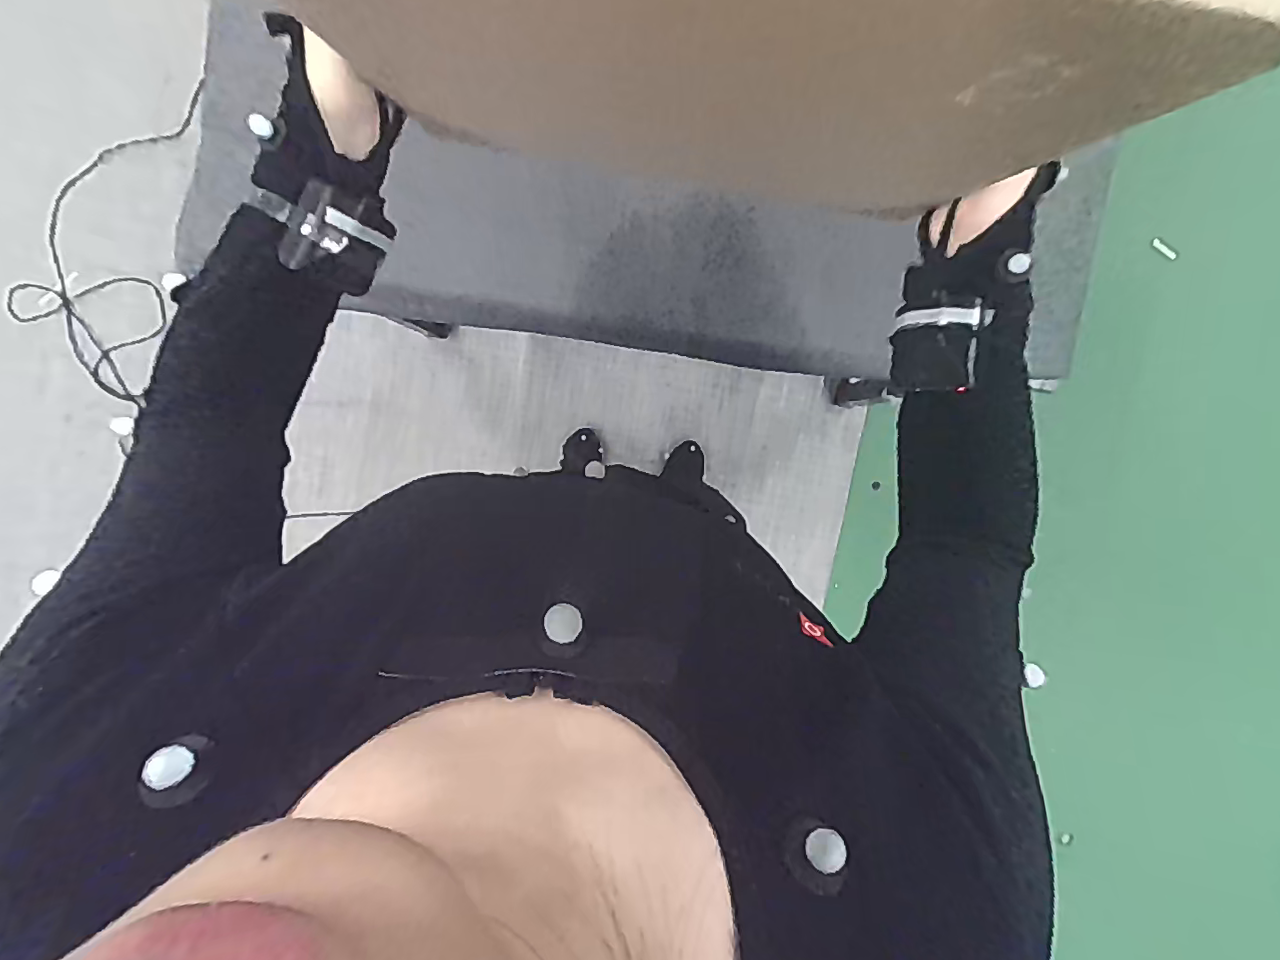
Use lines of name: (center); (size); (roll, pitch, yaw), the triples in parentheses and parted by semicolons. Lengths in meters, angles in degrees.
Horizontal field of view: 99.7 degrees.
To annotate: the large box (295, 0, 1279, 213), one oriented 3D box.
large box: (0.044, -0.365, 0.286); (0.408, 0.320, 0.320); (8, 106, -2)
